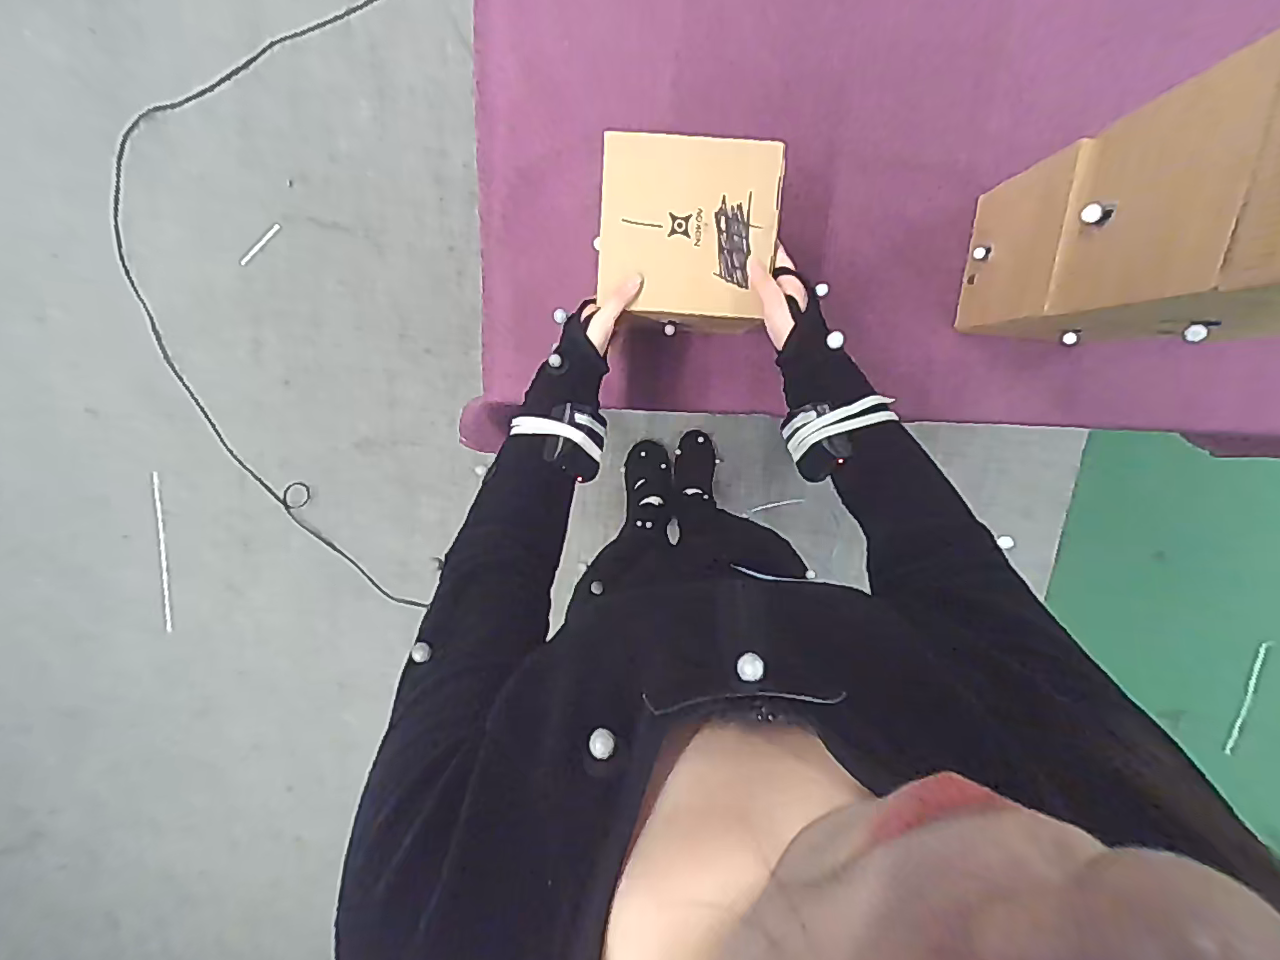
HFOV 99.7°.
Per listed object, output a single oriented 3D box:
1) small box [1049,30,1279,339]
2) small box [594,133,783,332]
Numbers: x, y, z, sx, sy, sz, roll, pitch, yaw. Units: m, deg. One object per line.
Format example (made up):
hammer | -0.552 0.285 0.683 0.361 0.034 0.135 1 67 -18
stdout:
small box | 0.491 -0.218 0.449 0.168 0.176 0.179 9 101 -1
small box | 0.046 -0.262 0.612 0.179 0.176 0.168 4 100 1
